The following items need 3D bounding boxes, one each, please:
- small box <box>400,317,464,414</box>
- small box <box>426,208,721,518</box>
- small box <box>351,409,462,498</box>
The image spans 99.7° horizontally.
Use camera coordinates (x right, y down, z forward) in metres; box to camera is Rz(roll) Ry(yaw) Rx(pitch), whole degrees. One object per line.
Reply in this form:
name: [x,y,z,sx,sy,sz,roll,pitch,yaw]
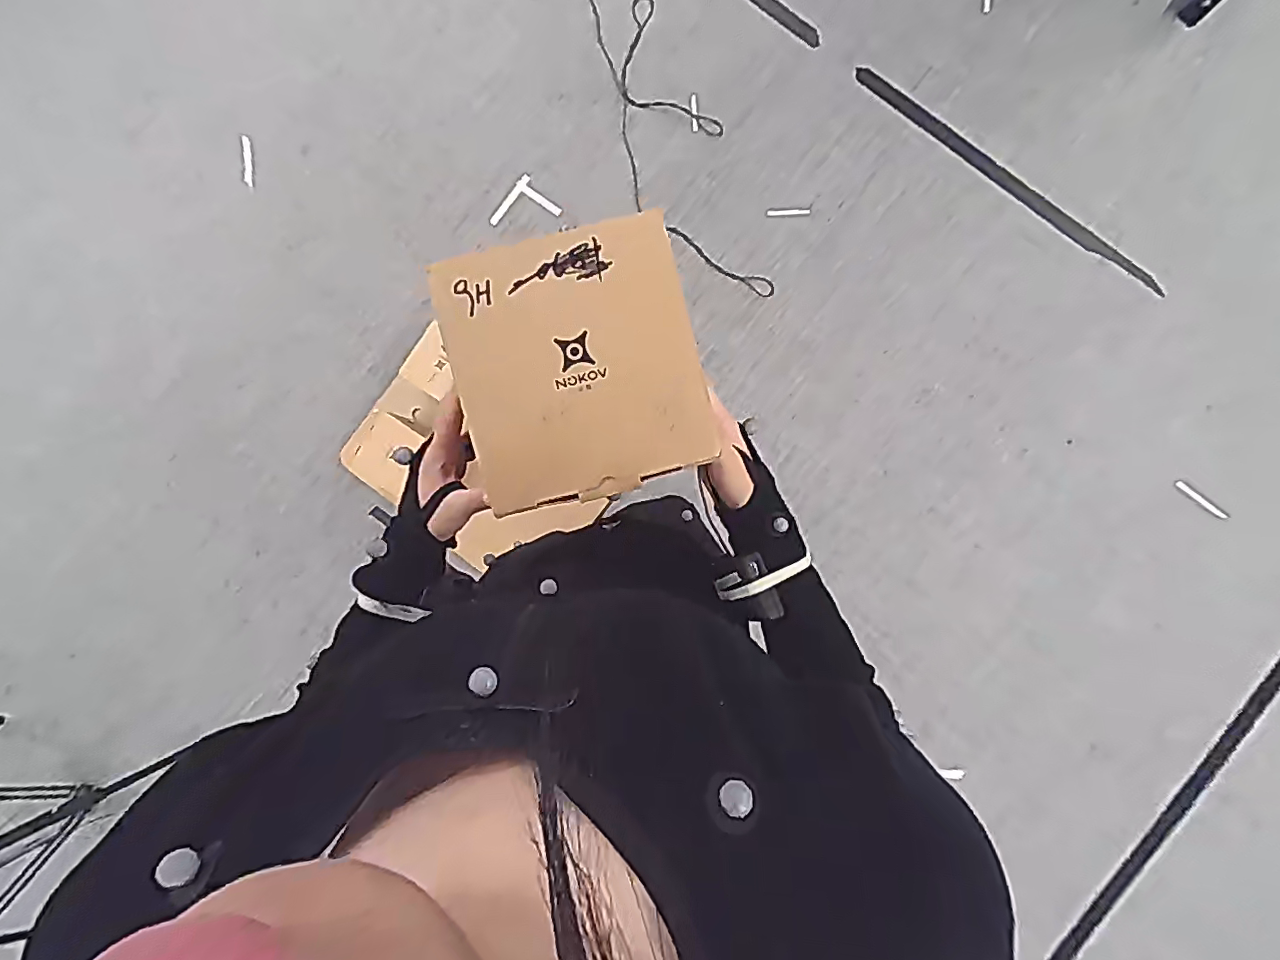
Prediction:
small box: [-0.489,-0.294,1.434,0.168,0.176,0.179,33,89,3]
small box: [-0.044,-0.083,0.438,0.168,0.176,0.179,-14,94,-1]
small box: [-0.608,-0.062,1.428,0.179,0.176,0.168,32,90,2]
